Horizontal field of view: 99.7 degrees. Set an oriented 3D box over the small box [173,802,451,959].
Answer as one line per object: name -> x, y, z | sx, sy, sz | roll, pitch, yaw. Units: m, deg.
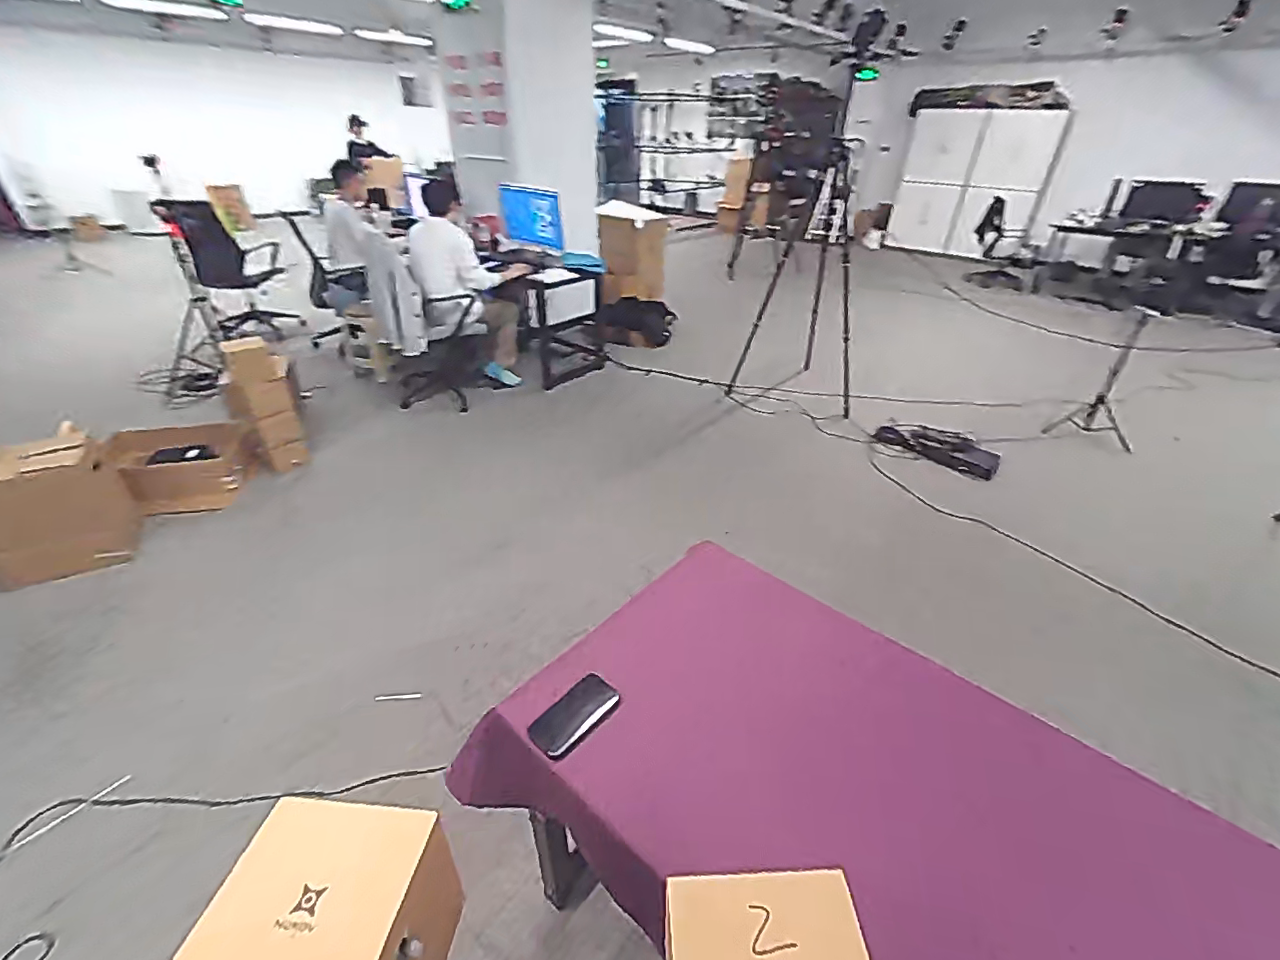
small box -> -0.290, 0.440, 0.502 | 0.168, 0.176, 0.179 | 3, 30, 4
